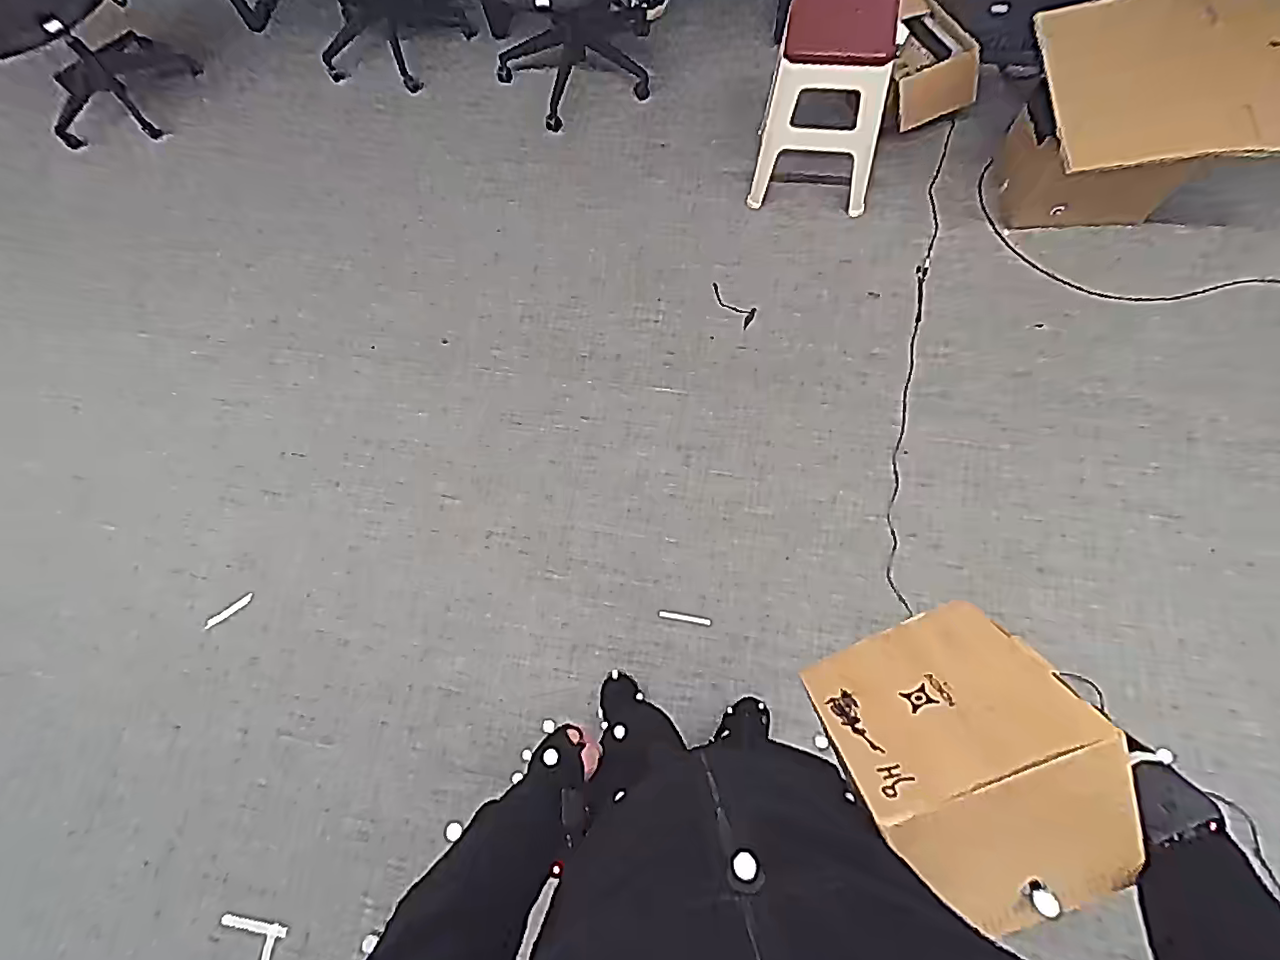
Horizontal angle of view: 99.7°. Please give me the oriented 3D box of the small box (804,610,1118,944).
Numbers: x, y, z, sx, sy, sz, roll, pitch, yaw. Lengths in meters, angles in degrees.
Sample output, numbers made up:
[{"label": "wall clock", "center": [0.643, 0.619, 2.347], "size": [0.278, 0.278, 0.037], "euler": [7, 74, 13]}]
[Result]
[{"label": "small box", "center": [0.278, 0.256, 0.485], "size": [0.179, 0.168, 0.176], "euler": [-25, 109, 4]}]
